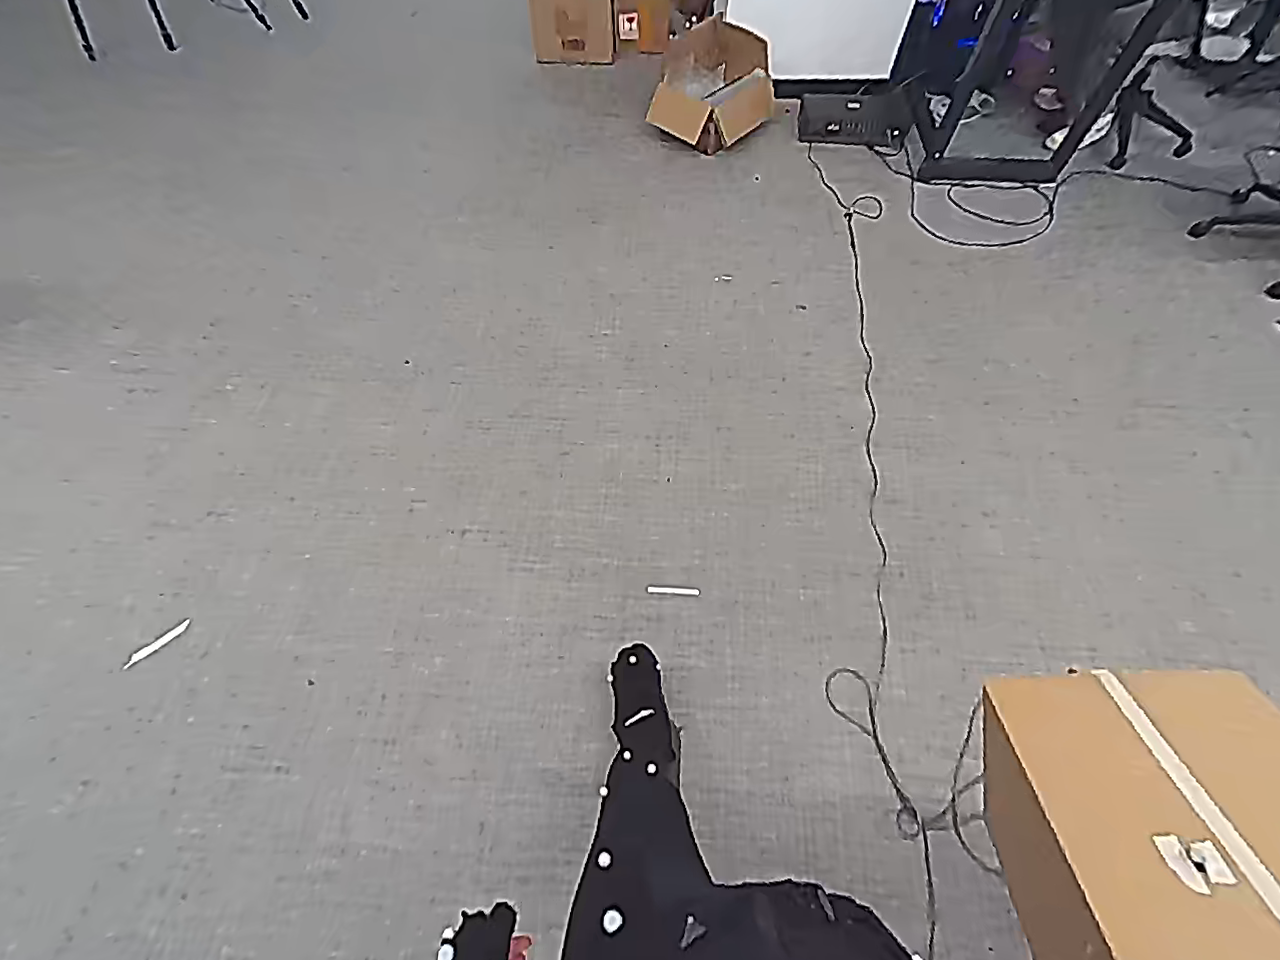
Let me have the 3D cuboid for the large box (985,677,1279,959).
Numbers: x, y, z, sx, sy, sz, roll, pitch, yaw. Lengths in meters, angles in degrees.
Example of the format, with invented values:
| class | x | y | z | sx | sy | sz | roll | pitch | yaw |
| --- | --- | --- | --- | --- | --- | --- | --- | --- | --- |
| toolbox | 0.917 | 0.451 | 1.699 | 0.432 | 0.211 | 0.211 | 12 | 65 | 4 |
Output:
| class | x | y | z | sx | sy | sz | roll | pitch | yaw |
| --- | --- | --- | --- | --- | --- | --- | --- | --- | --- |
| large box | 0.668 | 0.505 | 0.663 | 0.320 | 0.320 | 0.408 | -8 | 24 | 17 |
